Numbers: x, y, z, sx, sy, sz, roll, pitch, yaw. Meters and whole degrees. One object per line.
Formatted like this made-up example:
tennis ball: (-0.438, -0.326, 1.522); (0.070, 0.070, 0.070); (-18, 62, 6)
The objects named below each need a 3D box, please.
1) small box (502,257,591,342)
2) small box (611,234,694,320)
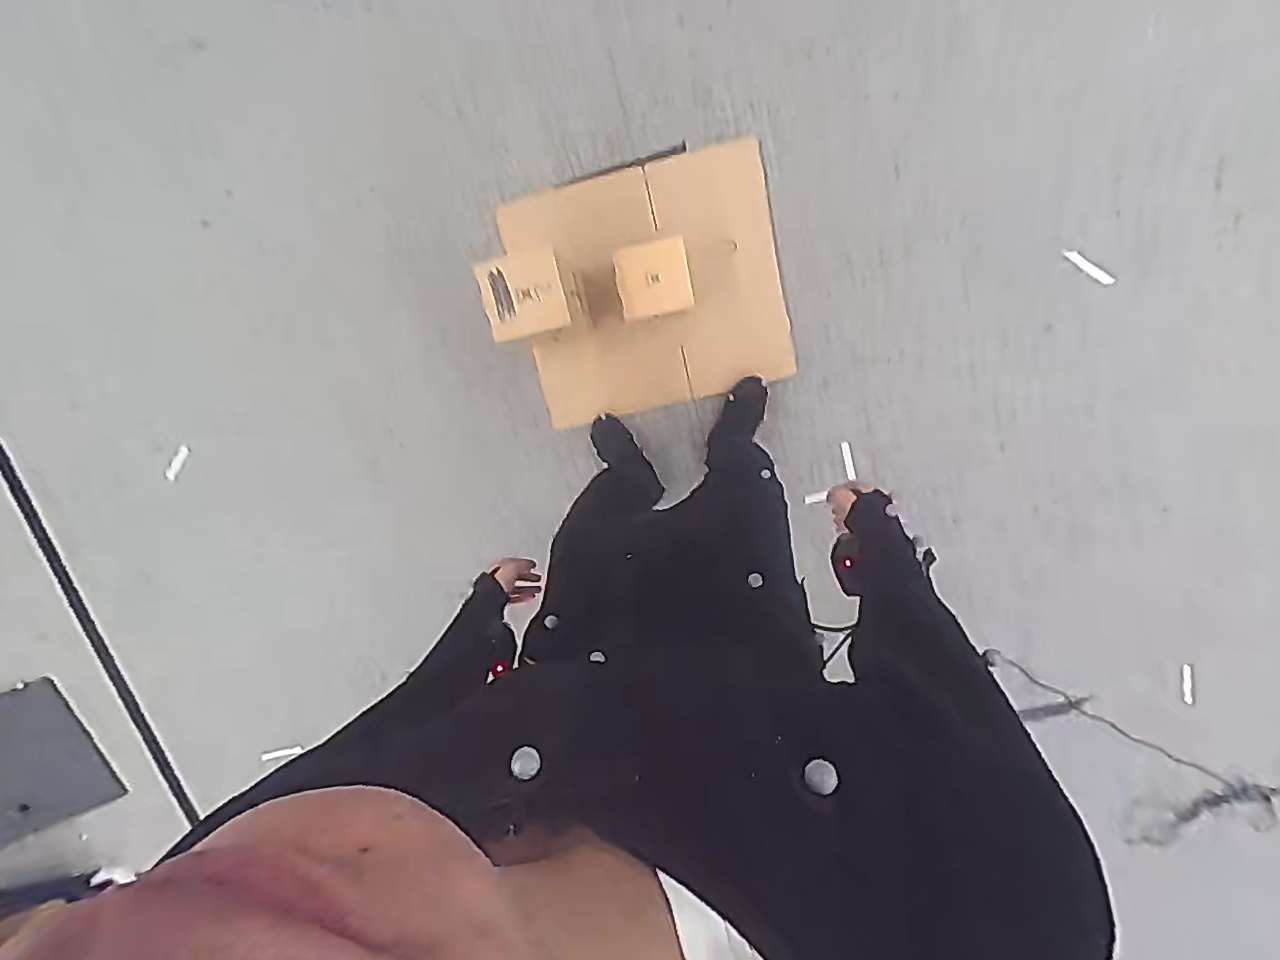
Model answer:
small box: (-0.228, -0.456, 1.384); (0.179, 0.176, 0.168); (-13, 103, 6)
small box: (0.032, -0.506, 1.367); (0.179, 0.176, 0.168); (-11, 103, 4)
